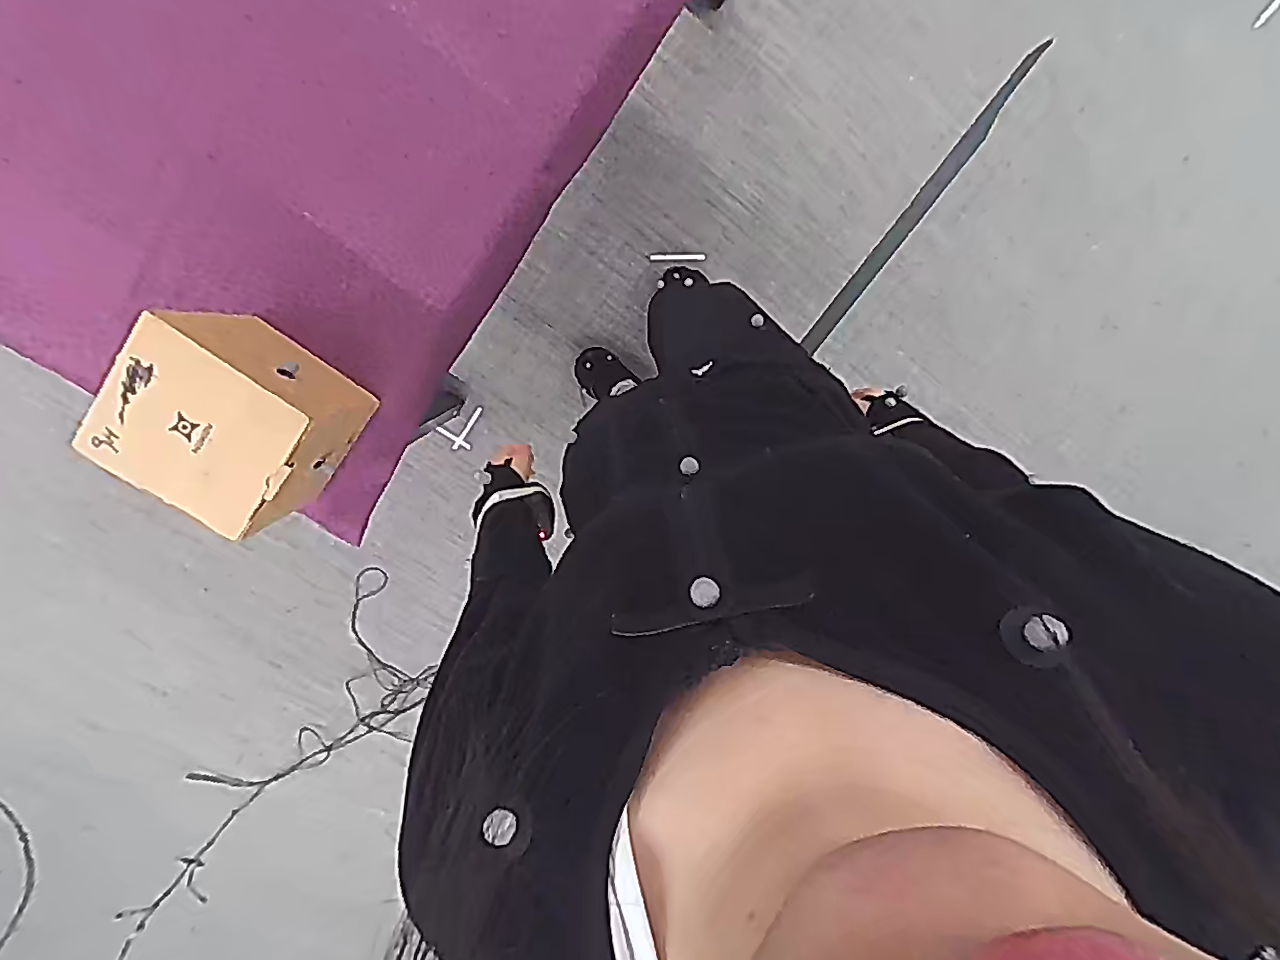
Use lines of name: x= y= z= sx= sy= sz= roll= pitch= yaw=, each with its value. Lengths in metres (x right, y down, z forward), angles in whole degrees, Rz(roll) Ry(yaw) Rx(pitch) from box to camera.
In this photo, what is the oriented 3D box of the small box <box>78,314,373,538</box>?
small box: x=-0.444 y=-0.070 z=0.615 sx=0.179 sy=0.176 sz=0.168 roll=36 pitch=100 yaw=-12
